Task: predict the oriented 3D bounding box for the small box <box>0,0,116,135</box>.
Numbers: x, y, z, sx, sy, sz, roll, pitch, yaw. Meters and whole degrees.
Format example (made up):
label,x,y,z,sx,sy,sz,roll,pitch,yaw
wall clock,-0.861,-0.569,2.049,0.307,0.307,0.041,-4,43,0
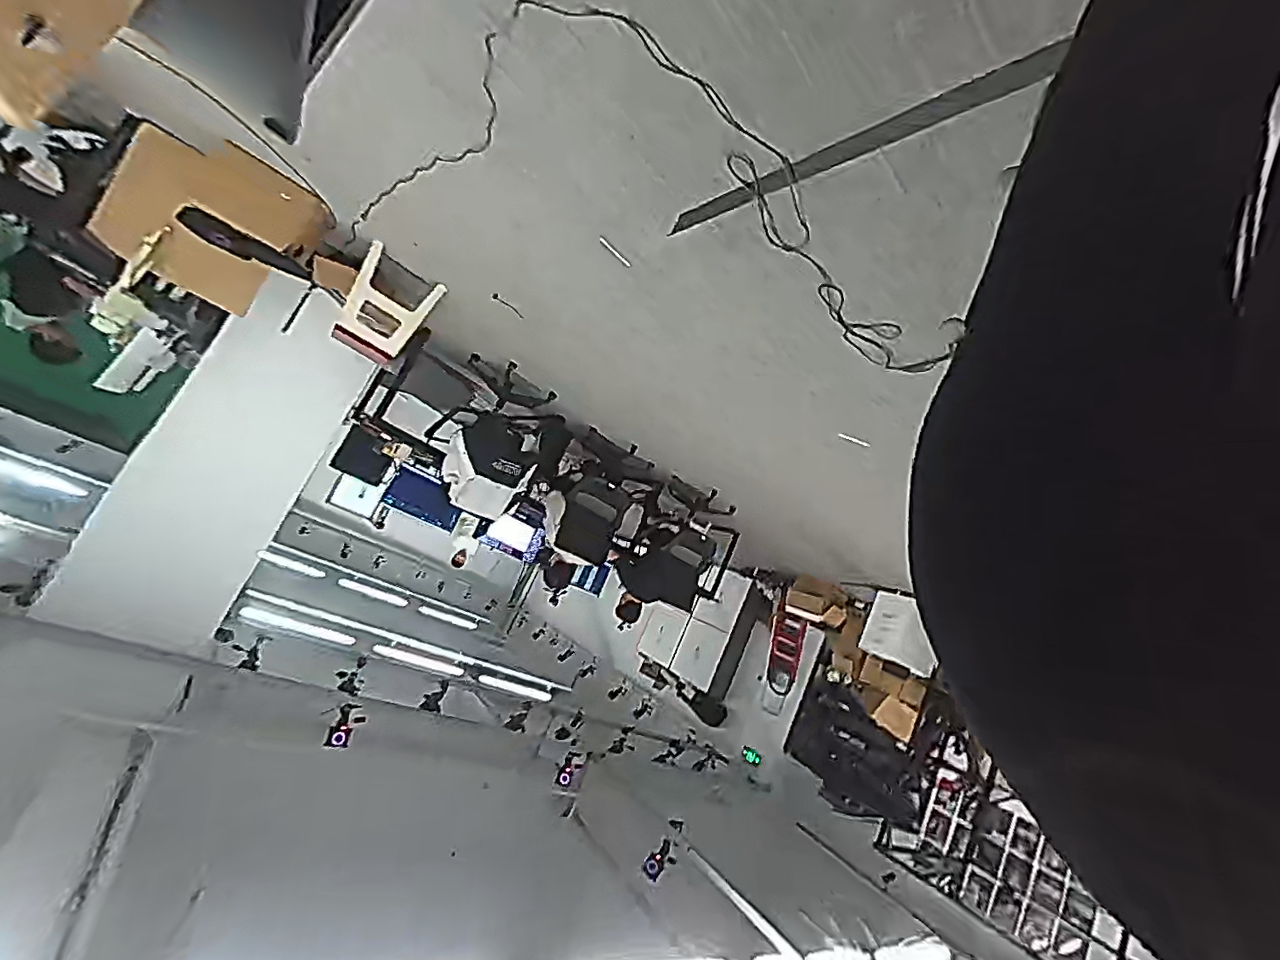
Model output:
label,x,y,z,sx,sy,sz,roll,pitch,yaw
small box,-0.419,-0.343,0.287,0.168,0.176,0.179,32,166,-35
